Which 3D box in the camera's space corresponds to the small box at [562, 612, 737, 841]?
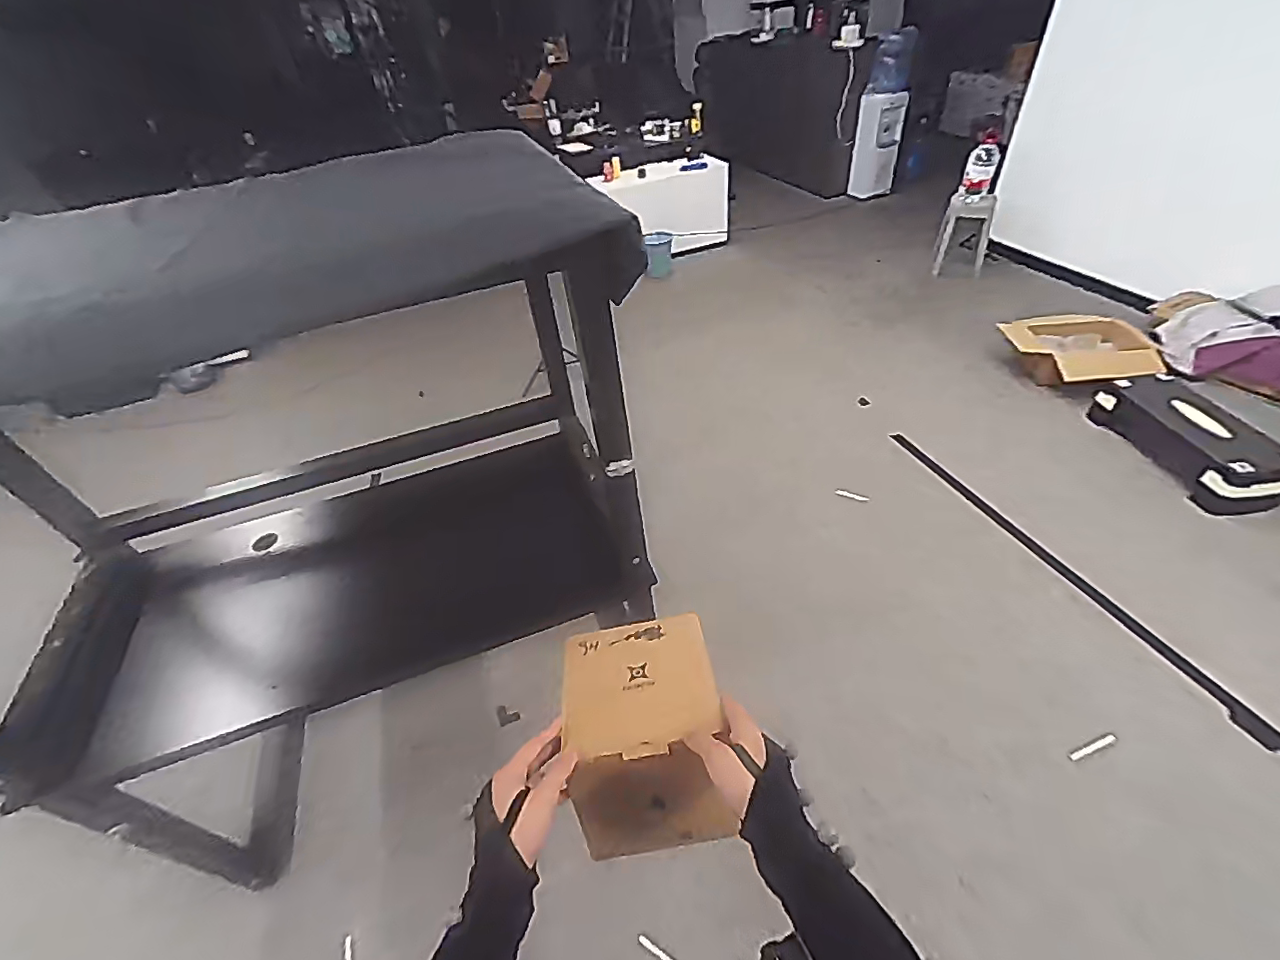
[{"bbox_3d":[0.012,0.286,0.628,0.168,0.176,0.179,-9,28,0],"label":"small box"}]
